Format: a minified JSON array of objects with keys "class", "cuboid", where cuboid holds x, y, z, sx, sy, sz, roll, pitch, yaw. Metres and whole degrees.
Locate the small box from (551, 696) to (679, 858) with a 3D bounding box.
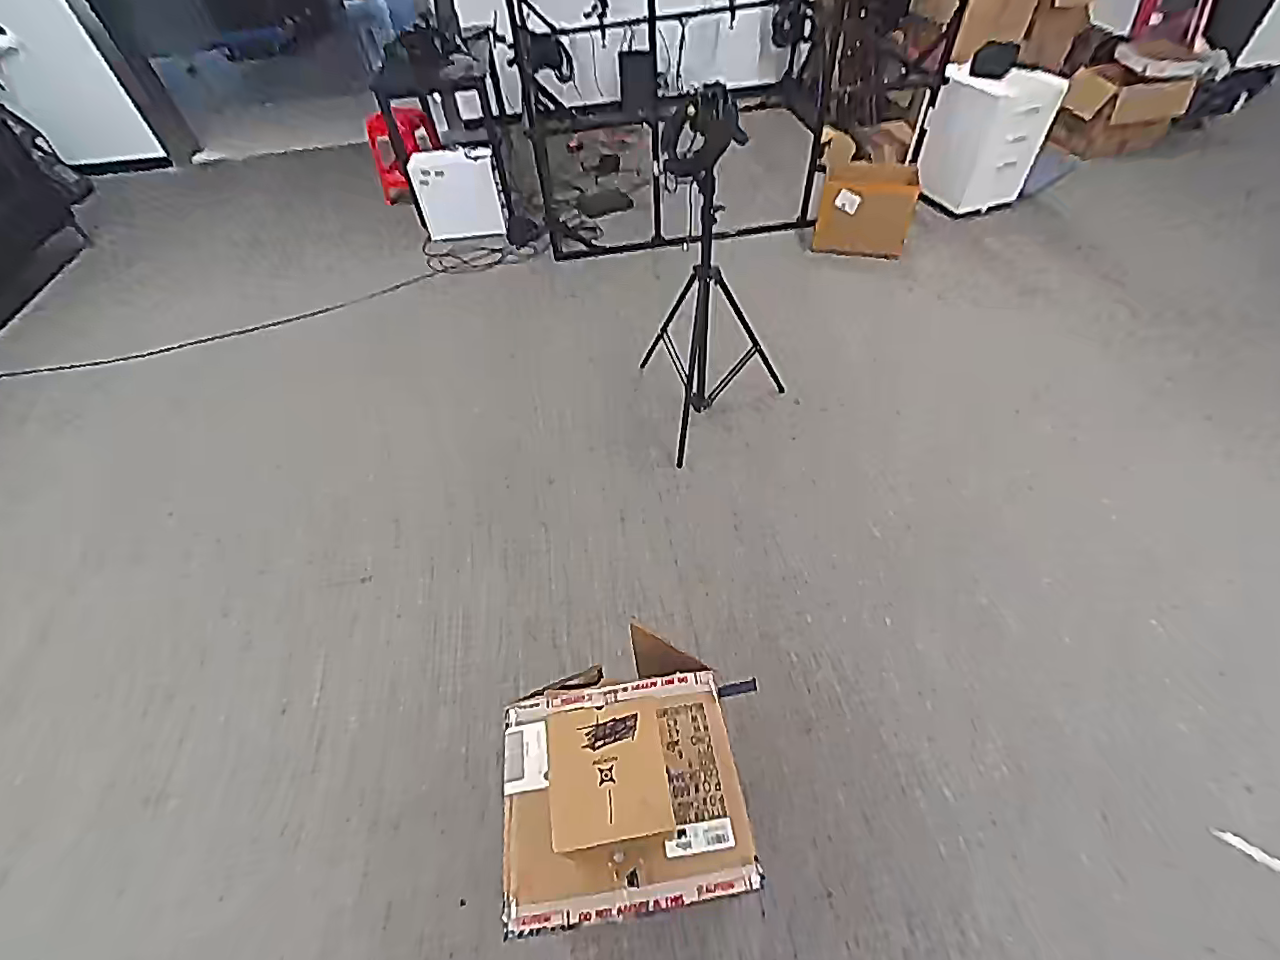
[{"class":"small box","cuboid":[-0.038,0.453,0.821,0.168,0.176,0.179,-9,53,-3]}]
